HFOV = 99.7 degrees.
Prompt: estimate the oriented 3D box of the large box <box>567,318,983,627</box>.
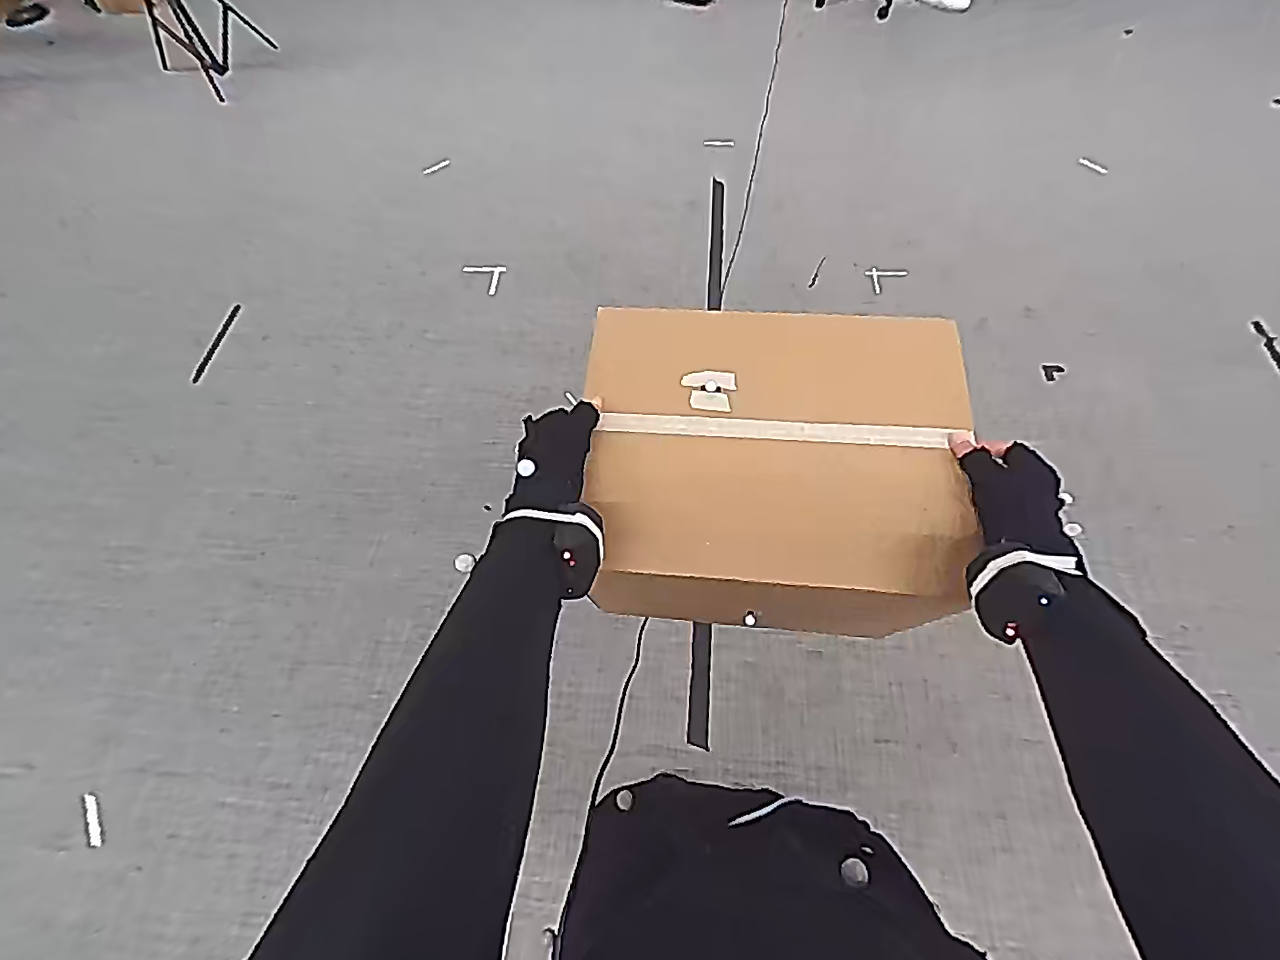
[{"bbox_3d":[0.151,0.009,0.713,0.408,0.320,0.320,4,67,7],"label":"large box"}]
